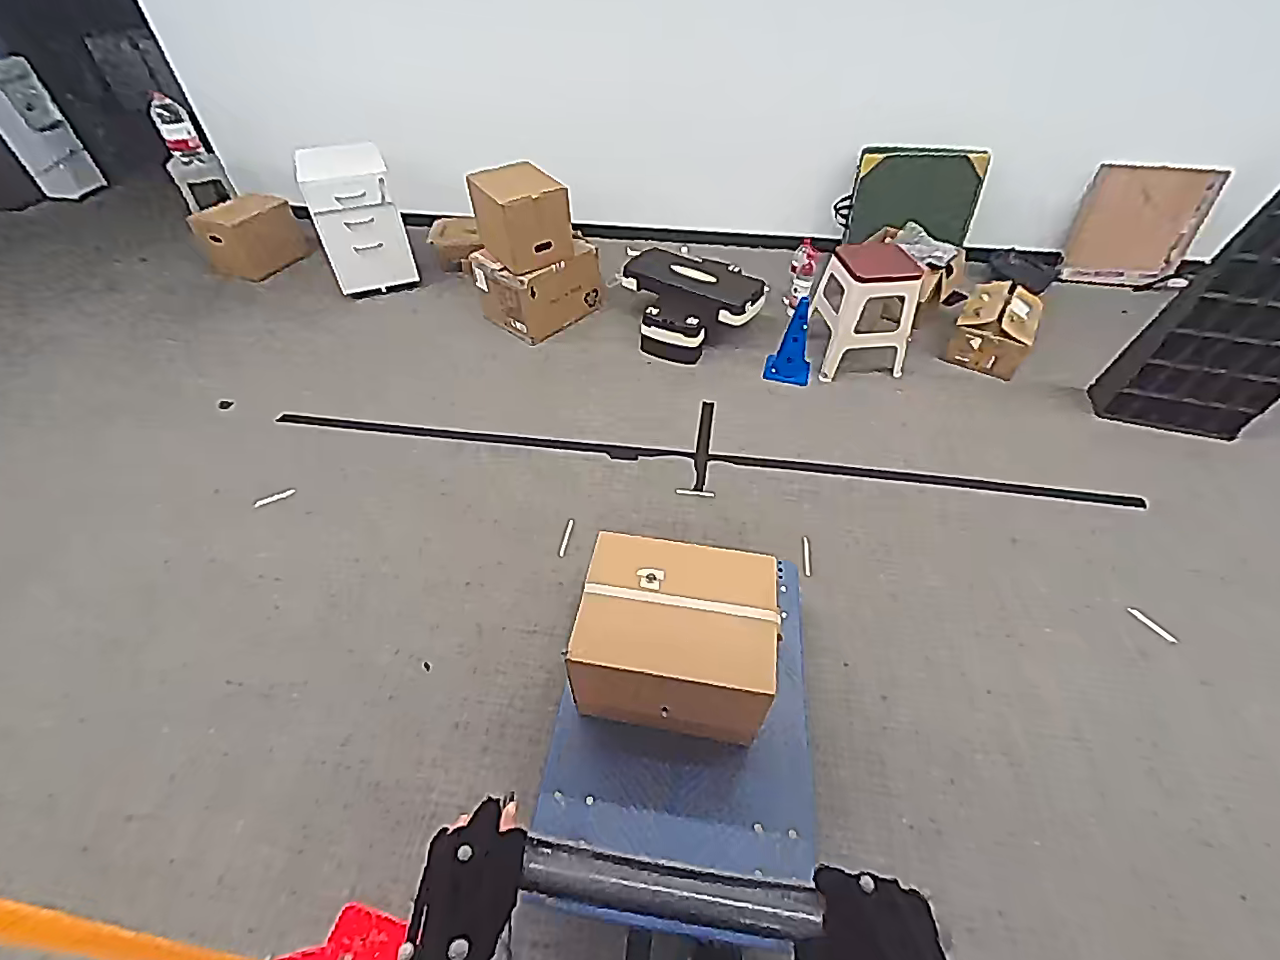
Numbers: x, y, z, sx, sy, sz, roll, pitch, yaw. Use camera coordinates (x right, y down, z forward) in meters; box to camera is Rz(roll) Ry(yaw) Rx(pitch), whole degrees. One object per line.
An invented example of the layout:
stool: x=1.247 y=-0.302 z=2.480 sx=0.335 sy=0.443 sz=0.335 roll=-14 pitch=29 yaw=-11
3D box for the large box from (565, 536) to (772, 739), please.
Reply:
large box: x=0.077 y=0.361 z=1.234 sx=0.408 sy=0.320 sz=0.320 roll=7 pitch=48 yaw=7

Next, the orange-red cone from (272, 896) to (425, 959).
orange-red cone: x=-0.558 y=0.863 z=0.964 sx=0.198 sy=0.360 sz=0.199 roll=13 pitch=47 yaw=11
